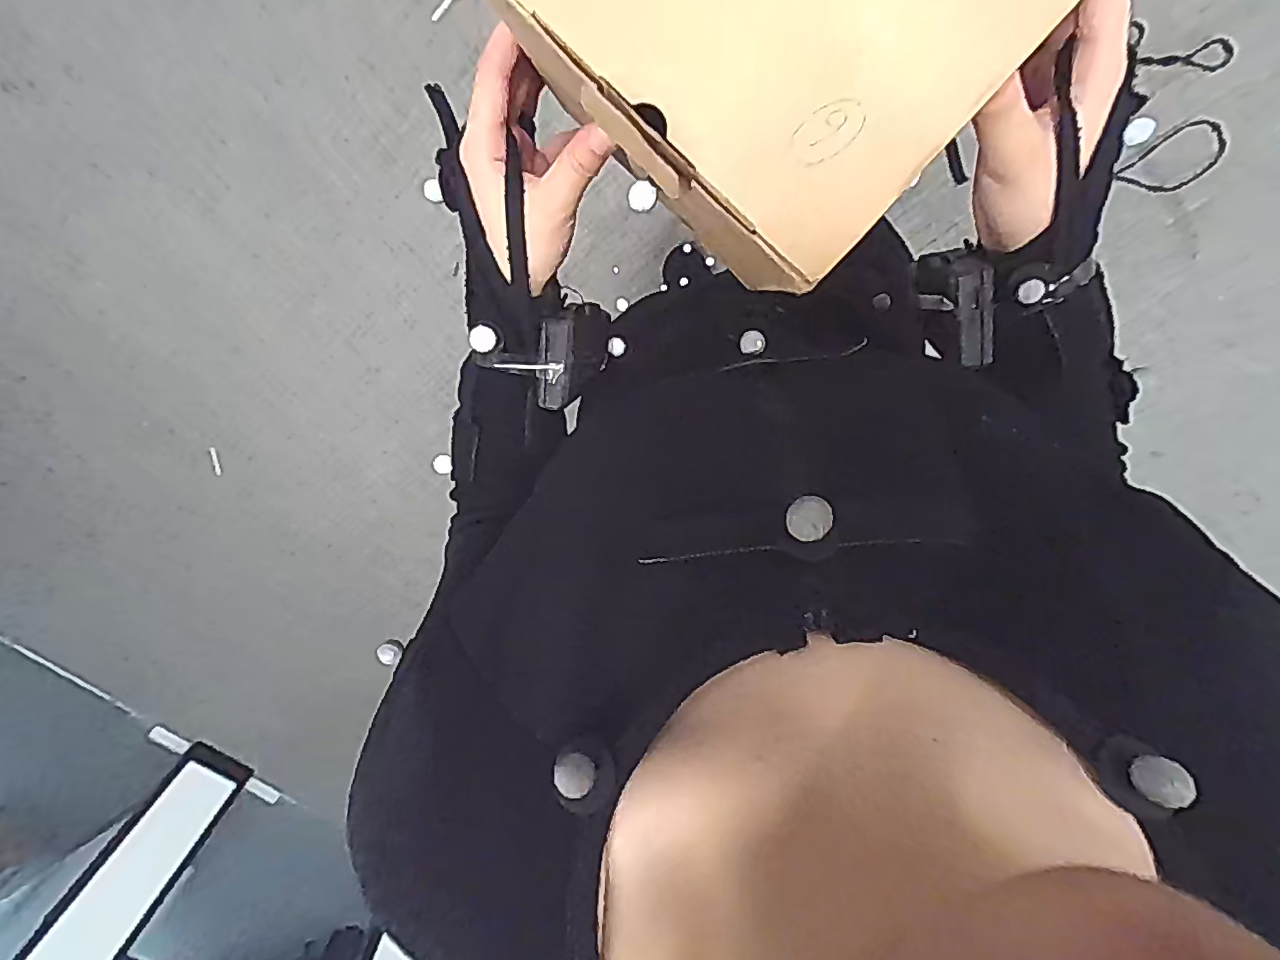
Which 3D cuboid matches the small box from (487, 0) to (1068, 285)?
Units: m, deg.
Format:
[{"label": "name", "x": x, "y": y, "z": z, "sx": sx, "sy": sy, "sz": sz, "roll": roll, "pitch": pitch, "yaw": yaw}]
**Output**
[{"label": "small box", "x": 0.064, "y": -0.212, "z": 0.246, "sx": 0.168, "sy": 0.176, "sz": 0.179, "roll": 39, "pitch": 109, "yaw": -10}]
